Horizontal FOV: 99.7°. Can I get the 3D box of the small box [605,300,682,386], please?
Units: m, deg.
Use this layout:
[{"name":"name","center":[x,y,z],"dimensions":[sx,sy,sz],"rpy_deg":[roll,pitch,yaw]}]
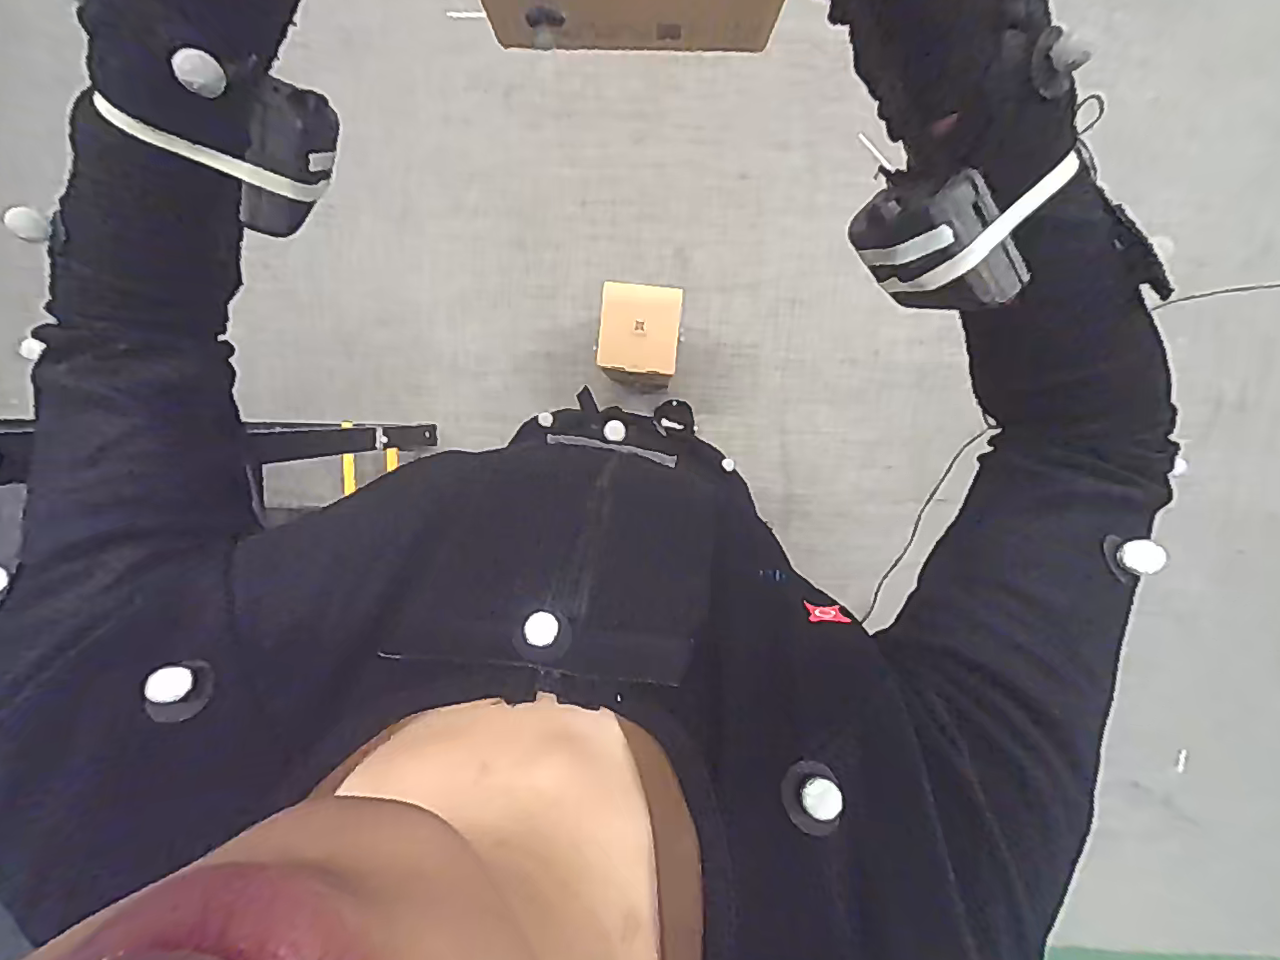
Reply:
[{"name":"small box","center":[0.009,-0.339,1.364],"dimensions":[0.168,0.176,0.179],"rpy_deg":[7,97,1]}]
